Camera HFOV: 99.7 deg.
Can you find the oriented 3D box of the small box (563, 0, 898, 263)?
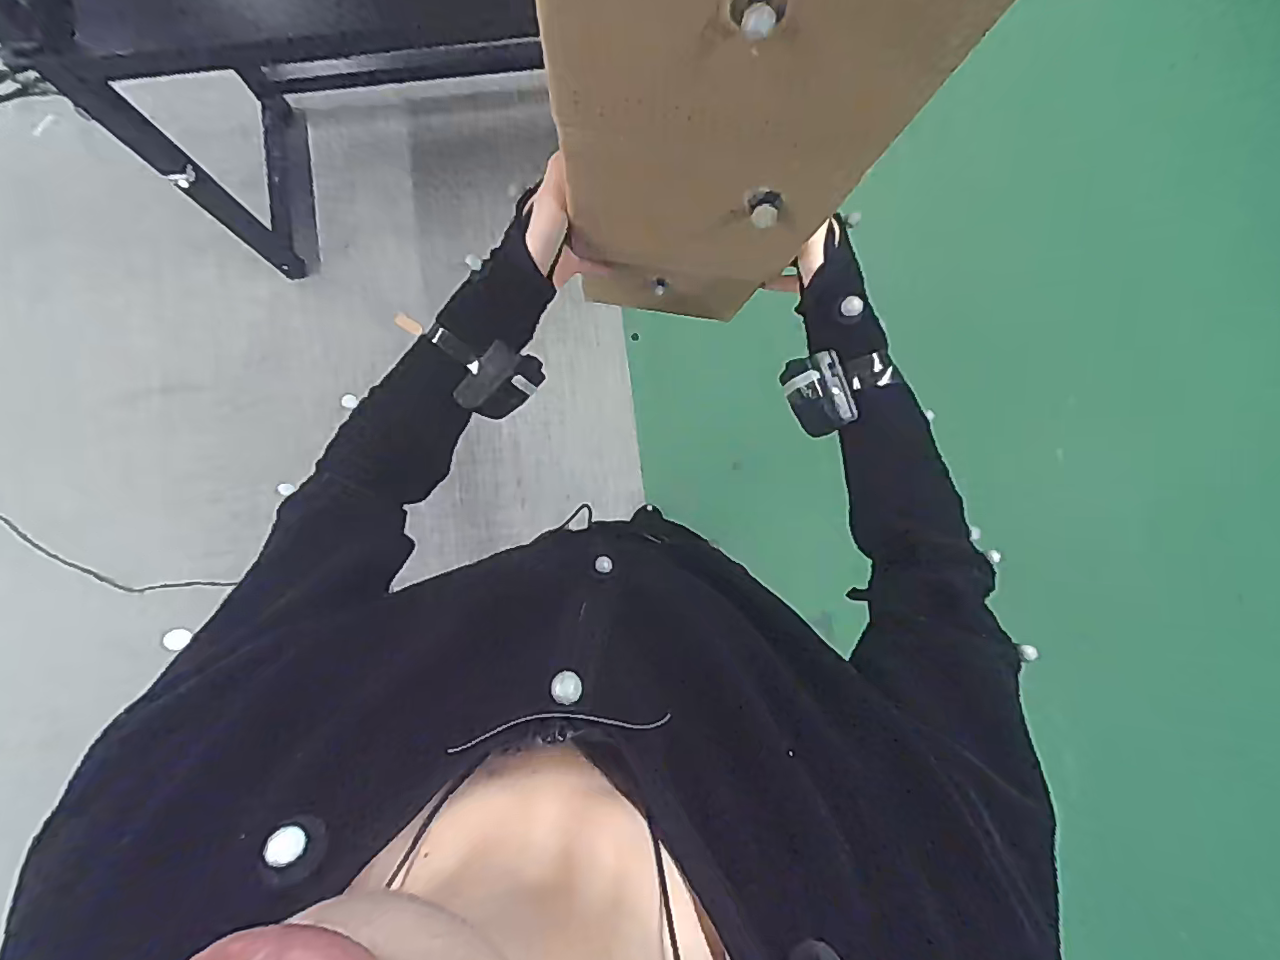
[{"bbox_3d":[0.048,-0.266,0.366,0.179,0.176,0.168,6,89,-4],"label":"small box"}]
